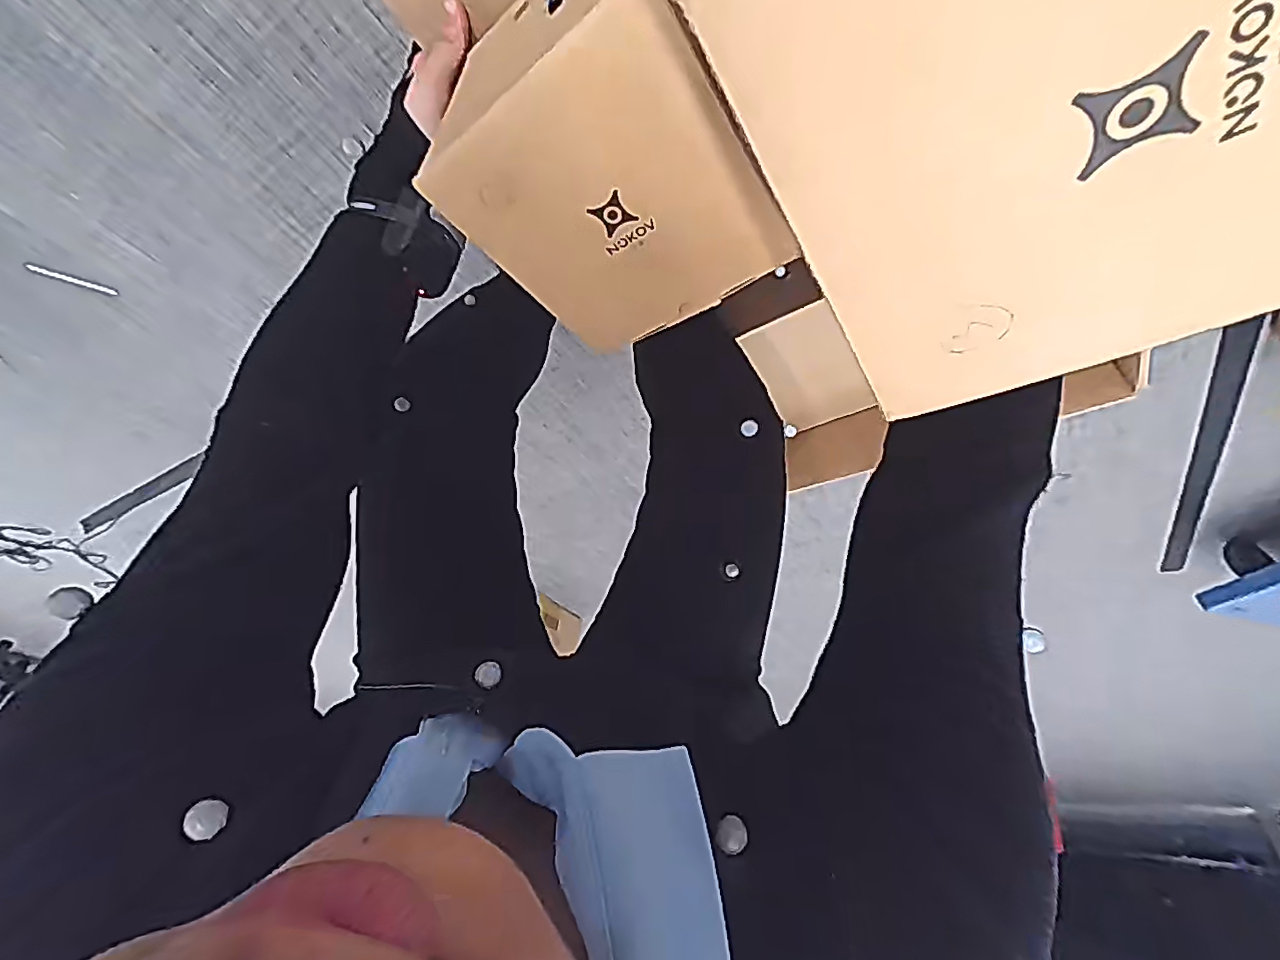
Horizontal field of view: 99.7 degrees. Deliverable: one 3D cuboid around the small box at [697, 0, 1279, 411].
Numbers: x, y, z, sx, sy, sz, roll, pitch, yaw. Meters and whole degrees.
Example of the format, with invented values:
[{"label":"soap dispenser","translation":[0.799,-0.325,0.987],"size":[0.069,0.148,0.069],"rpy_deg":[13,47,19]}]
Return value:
[{"label":"small box","translation":[0.132,-0.156,0.163],"size":[0.179,0.176,0.168],"rpy_deg":[-18,139,31]}]
